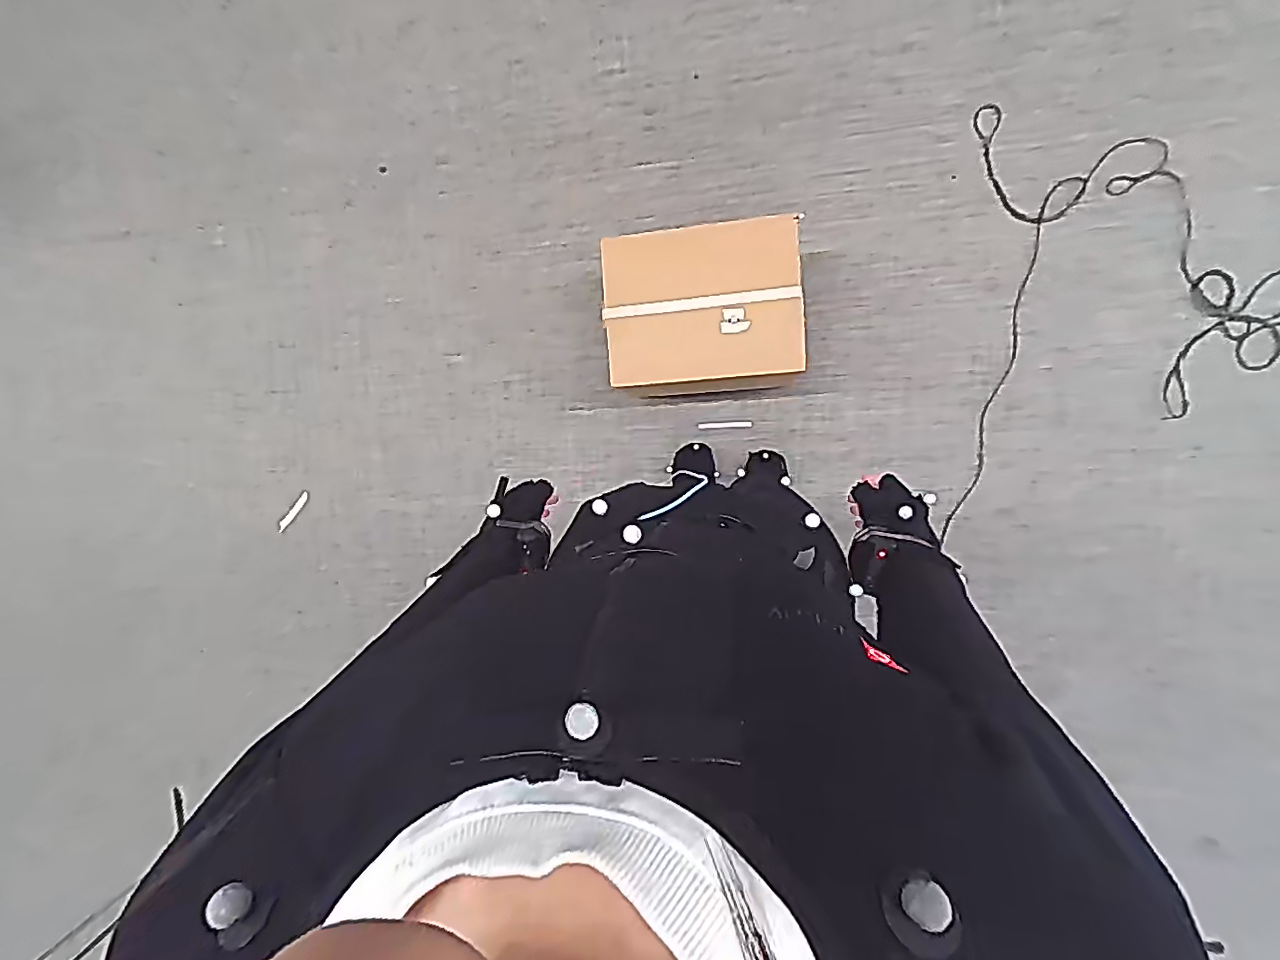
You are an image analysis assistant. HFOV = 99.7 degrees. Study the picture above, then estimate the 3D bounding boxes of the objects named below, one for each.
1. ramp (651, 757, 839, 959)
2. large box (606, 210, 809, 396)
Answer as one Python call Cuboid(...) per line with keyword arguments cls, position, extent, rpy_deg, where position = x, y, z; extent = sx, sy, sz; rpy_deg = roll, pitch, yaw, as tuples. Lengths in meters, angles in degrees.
Cuboid(cls="ramp", position=(0.269, 1.273, 1.430), extent=(0.509, 0.206, 0.991), rpy_deg=(-1, 94, 11))
Cuboid(cls="large box", position=(0.156, -0.380, 1.260), extent=(0.408, 0.320, 0.320), rpy_deg=(-4, 94, 9))
